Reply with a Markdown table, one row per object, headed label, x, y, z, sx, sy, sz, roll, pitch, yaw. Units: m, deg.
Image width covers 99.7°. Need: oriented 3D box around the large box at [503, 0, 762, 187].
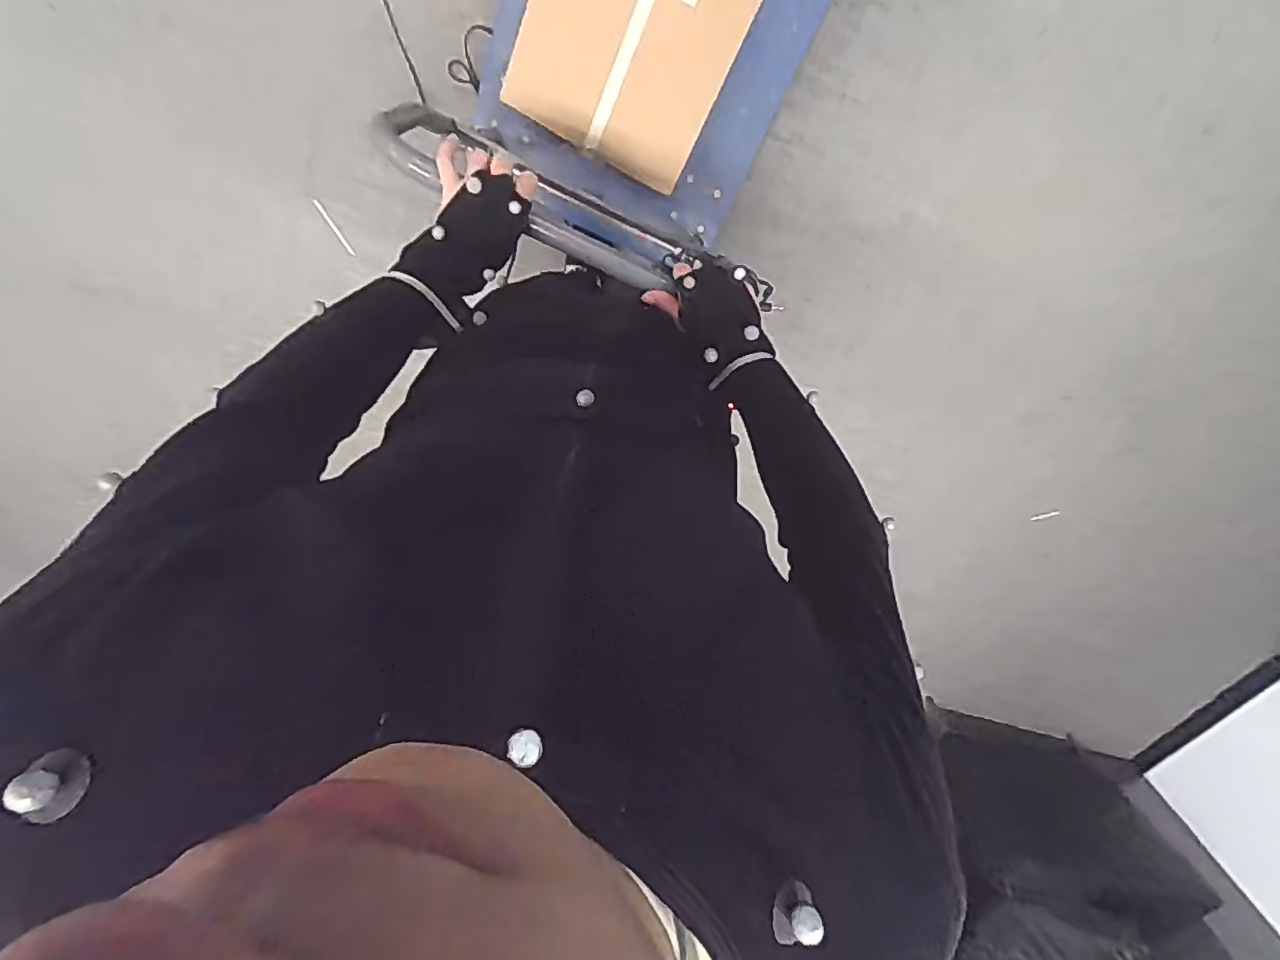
| label | x | y | z | sx | sy | sz | roll | pitch | yaw |
| --- | --- | --- | --- | --- | --- | --- | --- | --- | --- |
| large box | 0.002 | -0.780 | 0.924 | 0.320 | 0.320 | 0.408 | 23 | 118 | -15 |
